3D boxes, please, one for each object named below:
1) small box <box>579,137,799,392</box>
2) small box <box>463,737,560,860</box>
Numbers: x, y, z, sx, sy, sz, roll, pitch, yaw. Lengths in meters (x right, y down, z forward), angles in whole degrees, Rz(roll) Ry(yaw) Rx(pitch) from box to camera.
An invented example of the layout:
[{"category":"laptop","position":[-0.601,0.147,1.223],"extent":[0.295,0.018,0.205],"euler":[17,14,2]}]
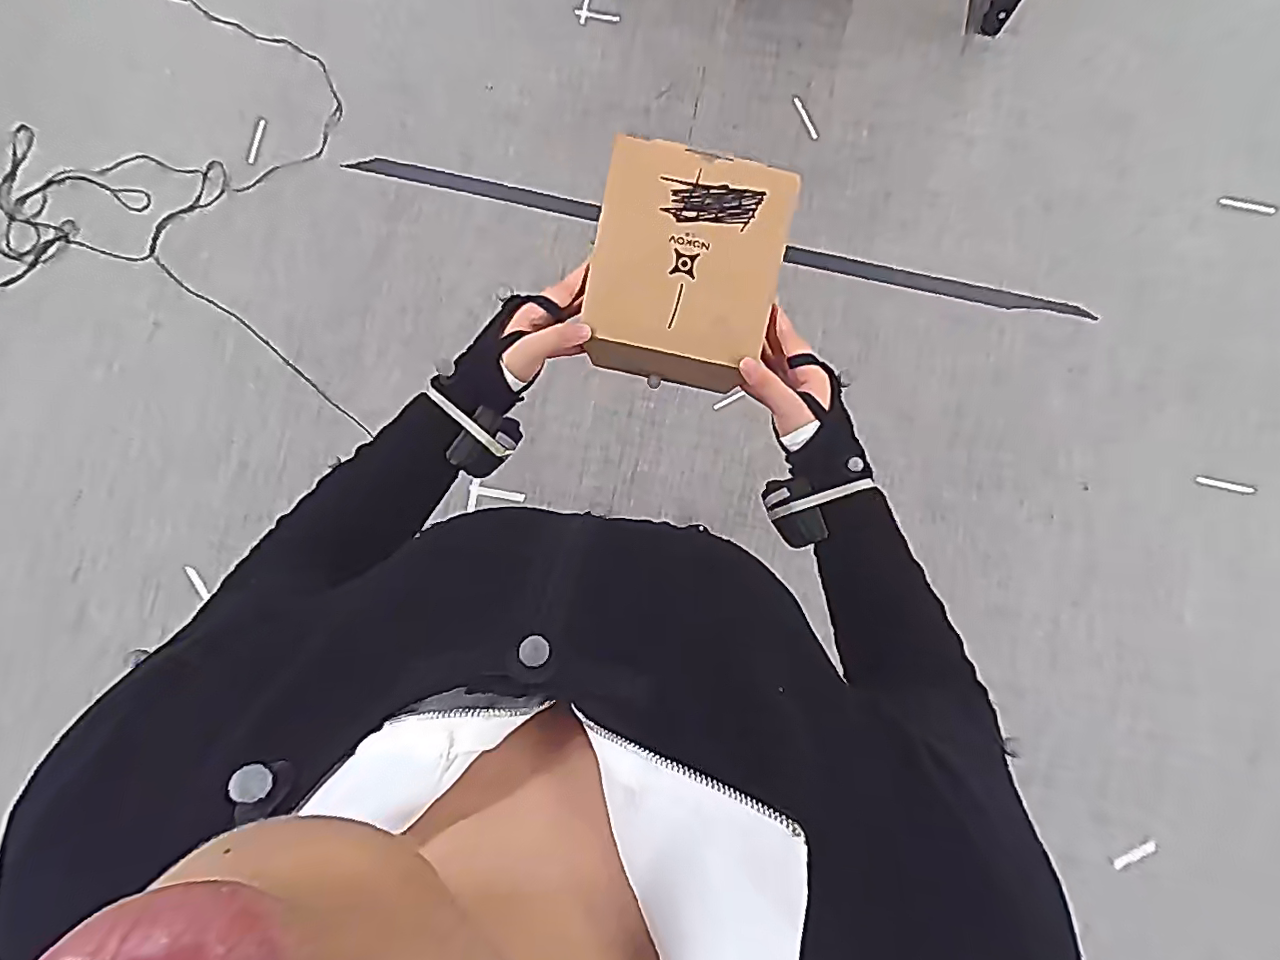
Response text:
[{"category":"small box","position":[0.042,-0.201,0.554],"extent":[0.168,0.176,0.179],"euler":[13,92,0]},{"category":"small box","position":[-0.295,0.742,1.278],"extent":[0.168,0.176,0.179],"euler":[12,87,2]}]
